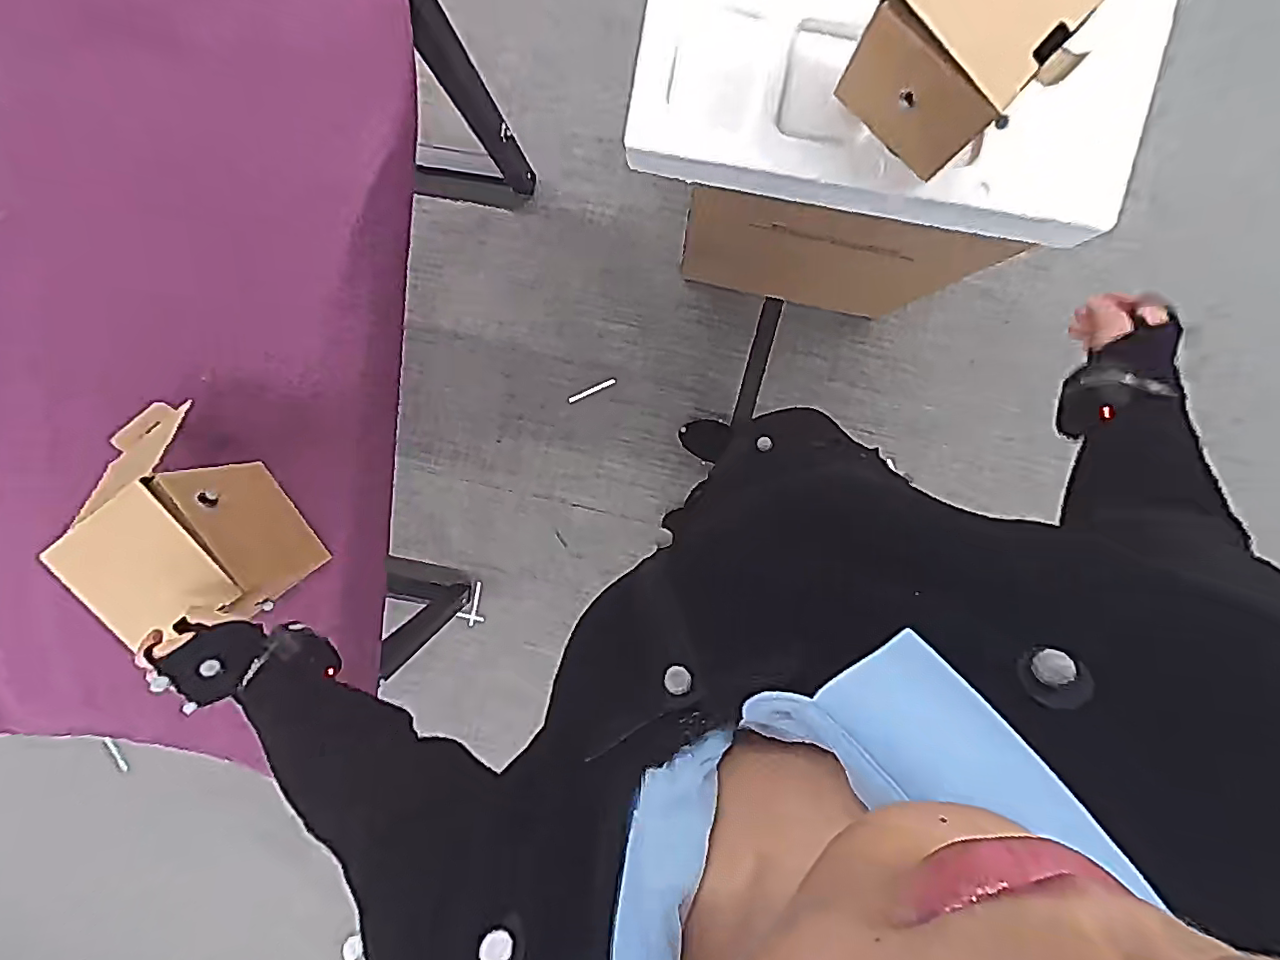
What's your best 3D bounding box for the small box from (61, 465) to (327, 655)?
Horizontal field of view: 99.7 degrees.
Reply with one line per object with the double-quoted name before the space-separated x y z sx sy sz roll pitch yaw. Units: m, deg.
"small box" -0.574 0.091 0.720 0.168 0.176 0.179 -34 93 8
